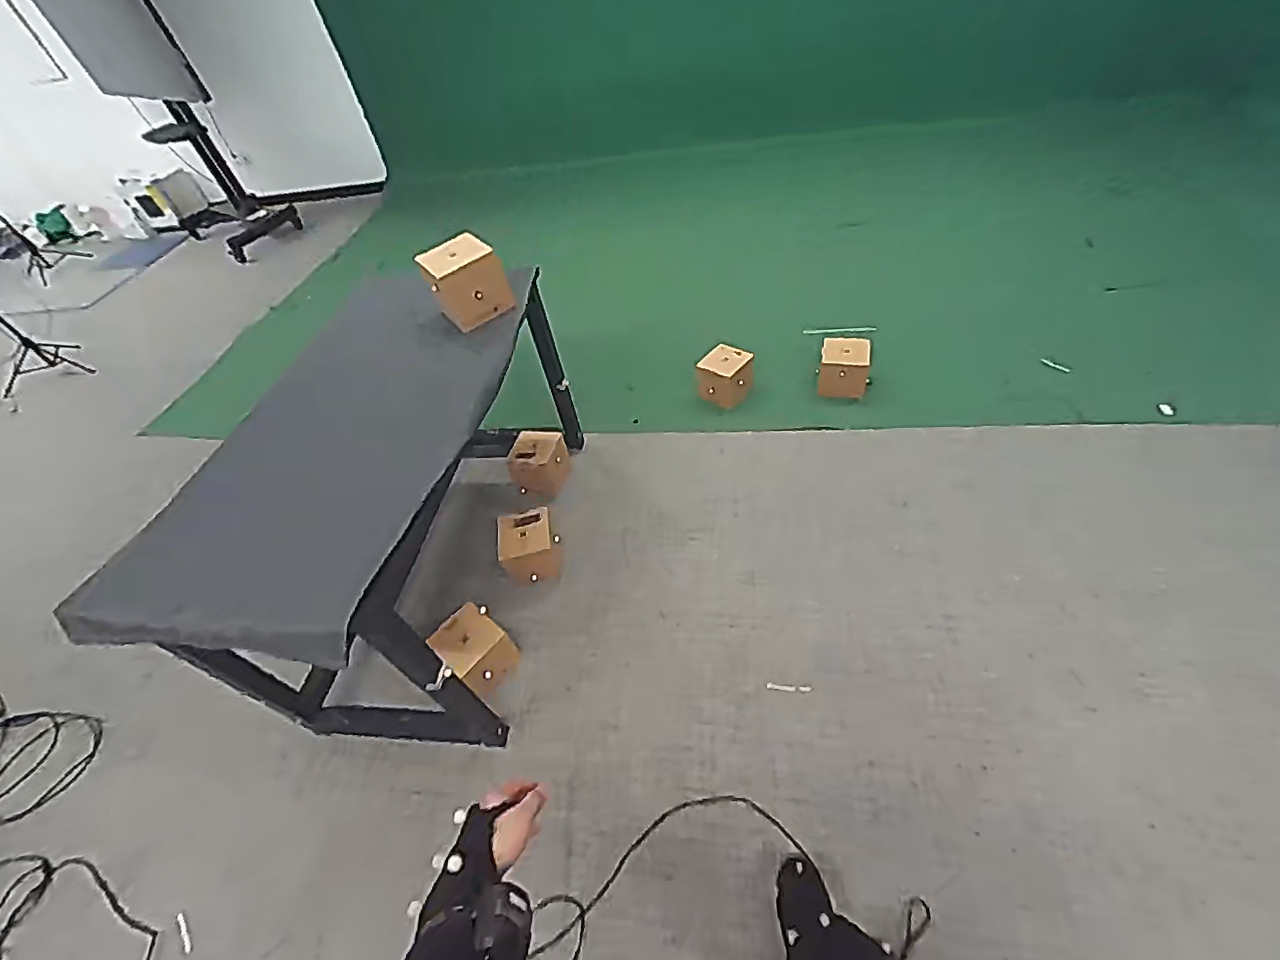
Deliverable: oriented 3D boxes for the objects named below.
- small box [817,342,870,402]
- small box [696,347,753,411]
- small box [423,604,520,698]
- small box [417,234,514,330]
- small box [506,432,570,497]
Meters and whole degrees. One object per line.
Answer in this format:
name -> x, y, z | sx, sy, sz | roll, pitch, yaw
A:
small box -> 0.805, -0.429, 2.149 | 0.179, 0.176, 0.168 | 8, 51, 15
small box -> 0.351, -0.410, 2.215 | 0.168, 0.176, 0.179 | 29, 59, 32
small box -> -0.472, 0.494, 1.543 | 0.179, 0.176, 0.168 | 28, 58, 31
small box -> -0.470, -0.536, 1.477 | 0.168, 0.176, 0.179 | -35, 51, -17
small box -> -0.374, -0.056, 2.022 | 0.168, 0.176, 0.179 | 5, 48, 14
